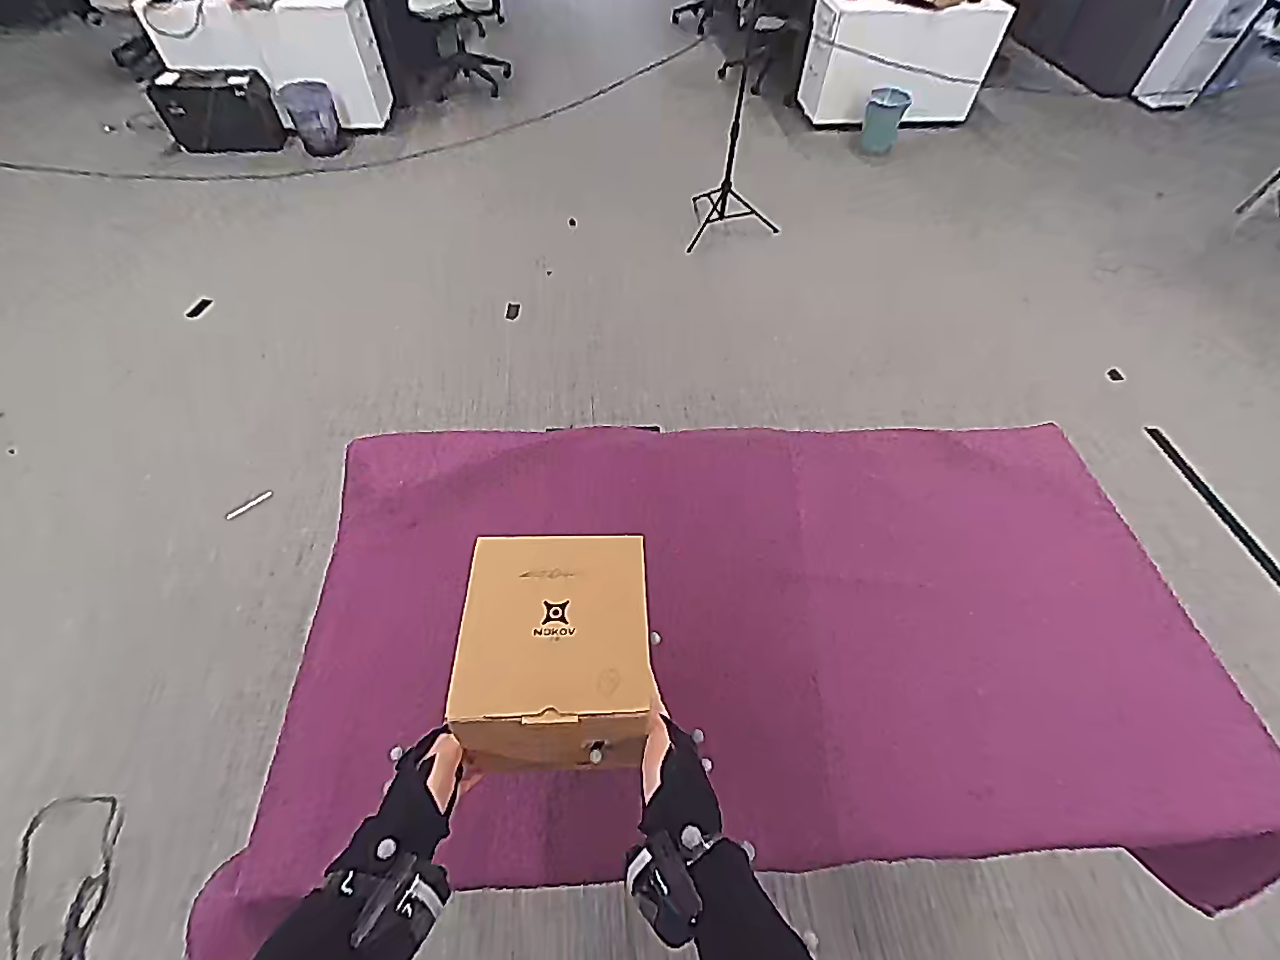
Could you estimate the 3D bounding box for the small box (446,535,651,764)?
[{"bbox_3d":[-0.076,0.173,0.538,0.168,0.176,0.179,0,49,-3],"label":"small box"}]
